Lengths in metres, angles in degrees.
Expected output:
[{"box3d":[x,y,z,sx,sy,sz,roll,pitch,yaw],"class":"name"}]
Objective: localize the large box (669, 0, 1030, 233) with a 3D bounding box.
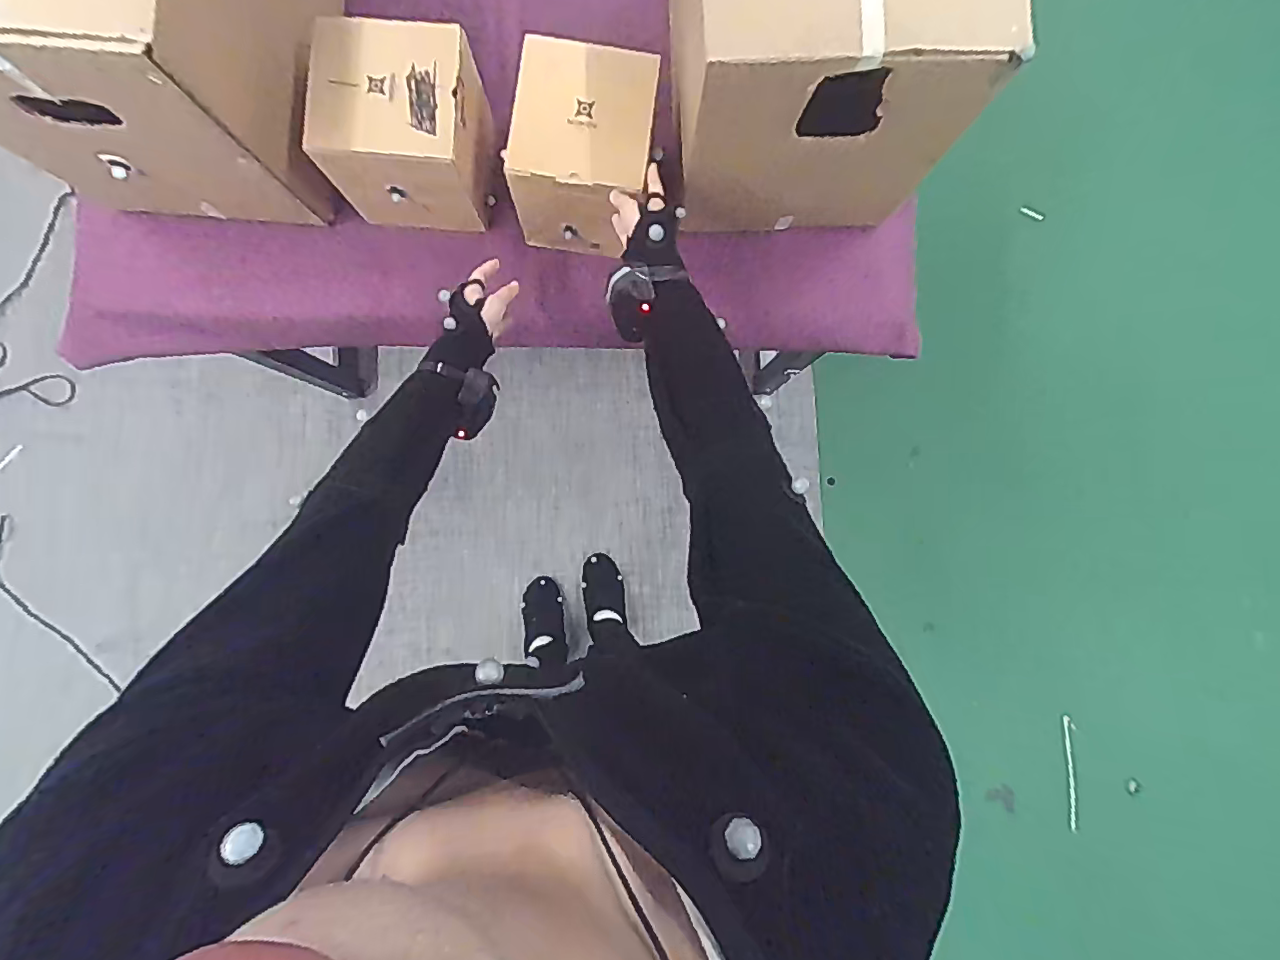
[{"box3d":[0.207,-0.577,0.669,0.320,0.320,0.408,-2,88,0],"class":"large box"}]
